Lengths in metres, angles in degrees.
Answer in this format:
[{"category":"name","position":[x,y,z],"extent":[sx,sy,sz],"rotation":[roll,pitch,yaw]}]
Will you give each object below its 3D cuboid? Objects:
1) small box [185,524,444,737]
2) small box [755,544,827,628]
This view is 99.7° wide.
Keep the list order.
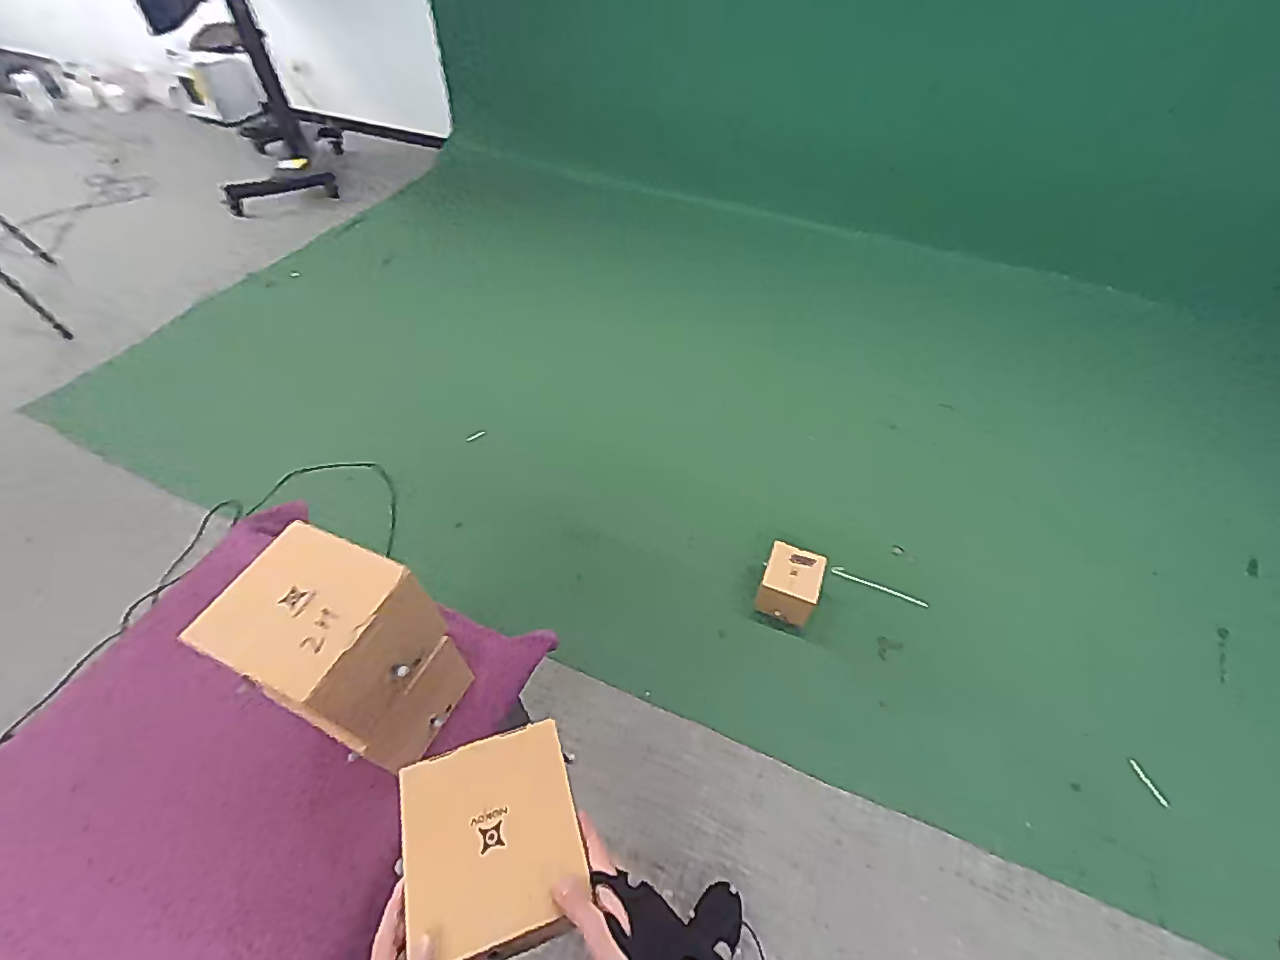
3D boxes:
[{"category":"small box","position":[-0.375,0.187,0.660],"extent":[0.179,0.176,0.168],"rotation":[19,54,14]},{"category":"small box","position":[0.475,0.338,1.716],"extent":[0.168,0.176,0.179],"rotation":[18,54,14]}]
